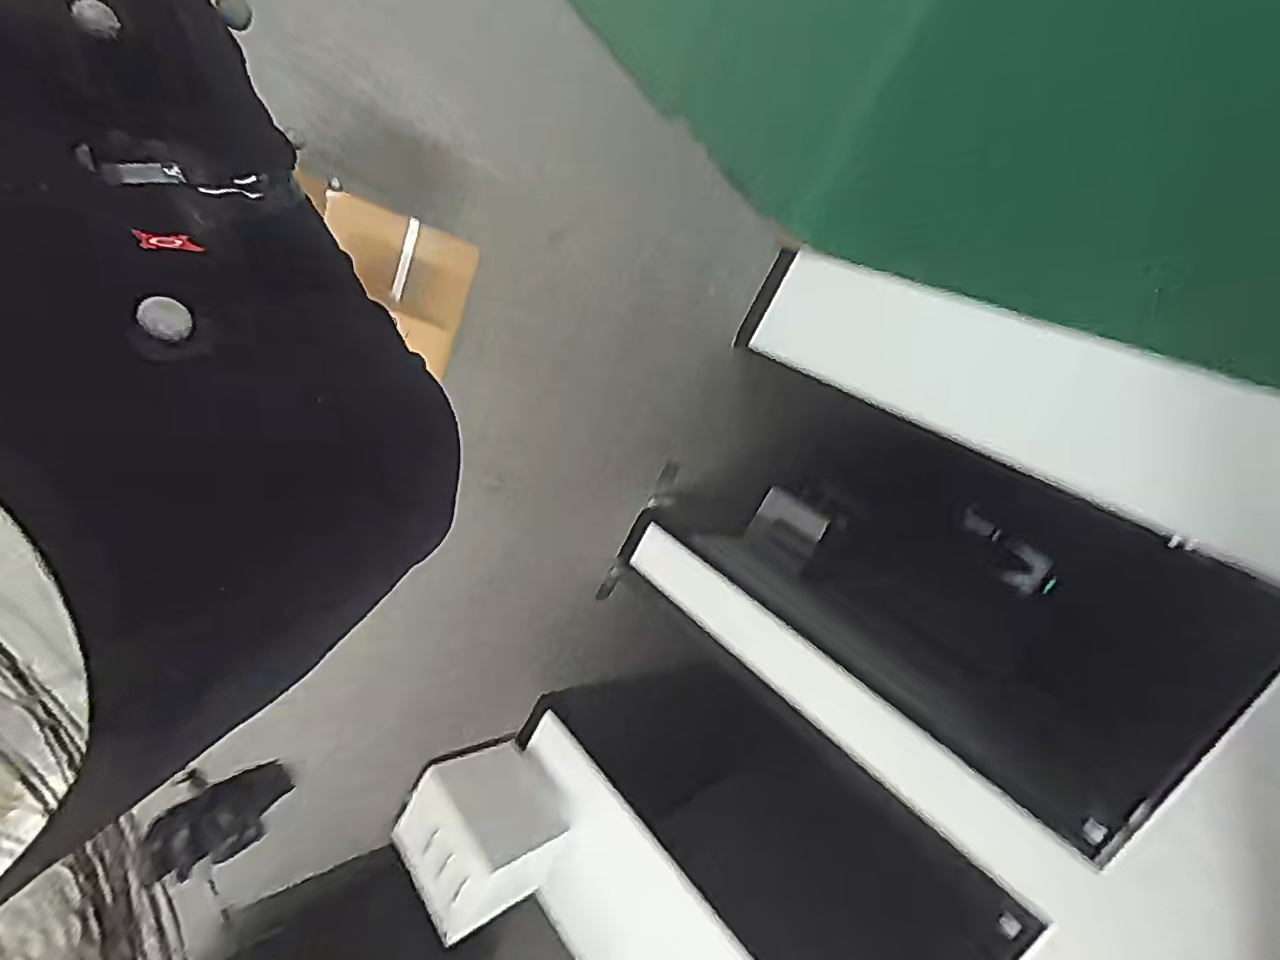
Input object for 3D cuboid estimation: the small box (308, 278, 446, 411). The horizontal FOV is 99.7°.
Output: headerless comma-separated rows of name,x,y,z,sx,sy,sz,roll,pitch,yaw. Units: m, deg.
small box,-0.510,-0.259,1.039,0.168,0.176,0.179,9,110,-53
